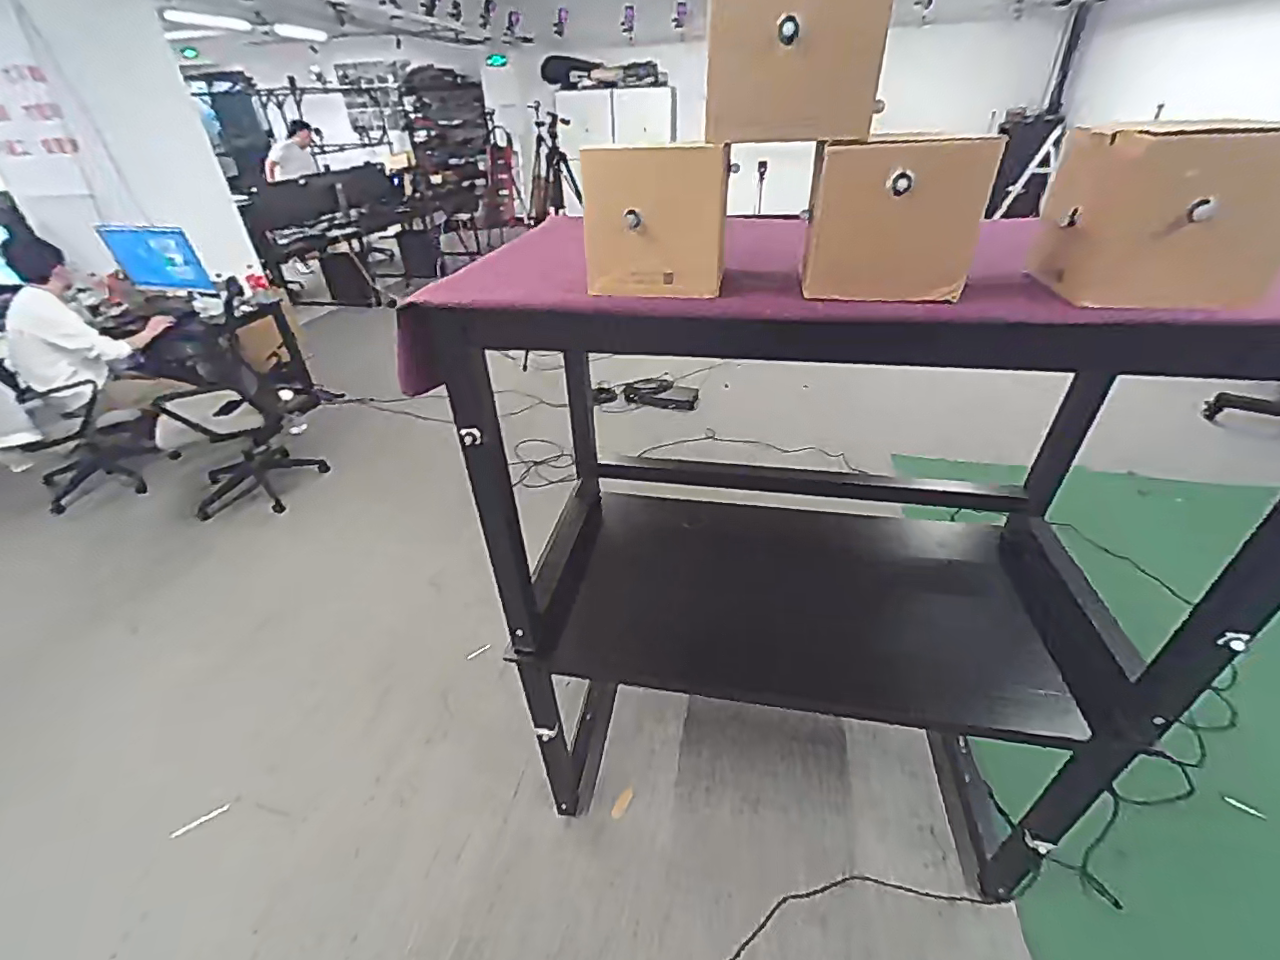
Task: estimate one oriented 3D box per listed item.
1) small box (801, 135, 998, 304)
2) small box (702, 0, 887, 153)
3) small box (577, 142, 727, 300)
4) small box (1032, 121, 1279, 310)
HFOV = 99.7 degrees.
[{"bbox_3d":[0.296,-0.322,0.665,0.179,0.176,0.168,5,34,11],"label":"small box"},{"bbox_3d":[0.164,-0.472,0.603,0.179,0.176,0.168,3,34,9],"label":"small box"},{"bbox_3d":[0.026,-0.341,0.711,0.168,0.176,0.179,4,33,9],"label":"small box"},{"bbox_3d":[0.581,-0.297,0.610,0.179,0.176,0.168,3,36,11],"label":"small box"}]
